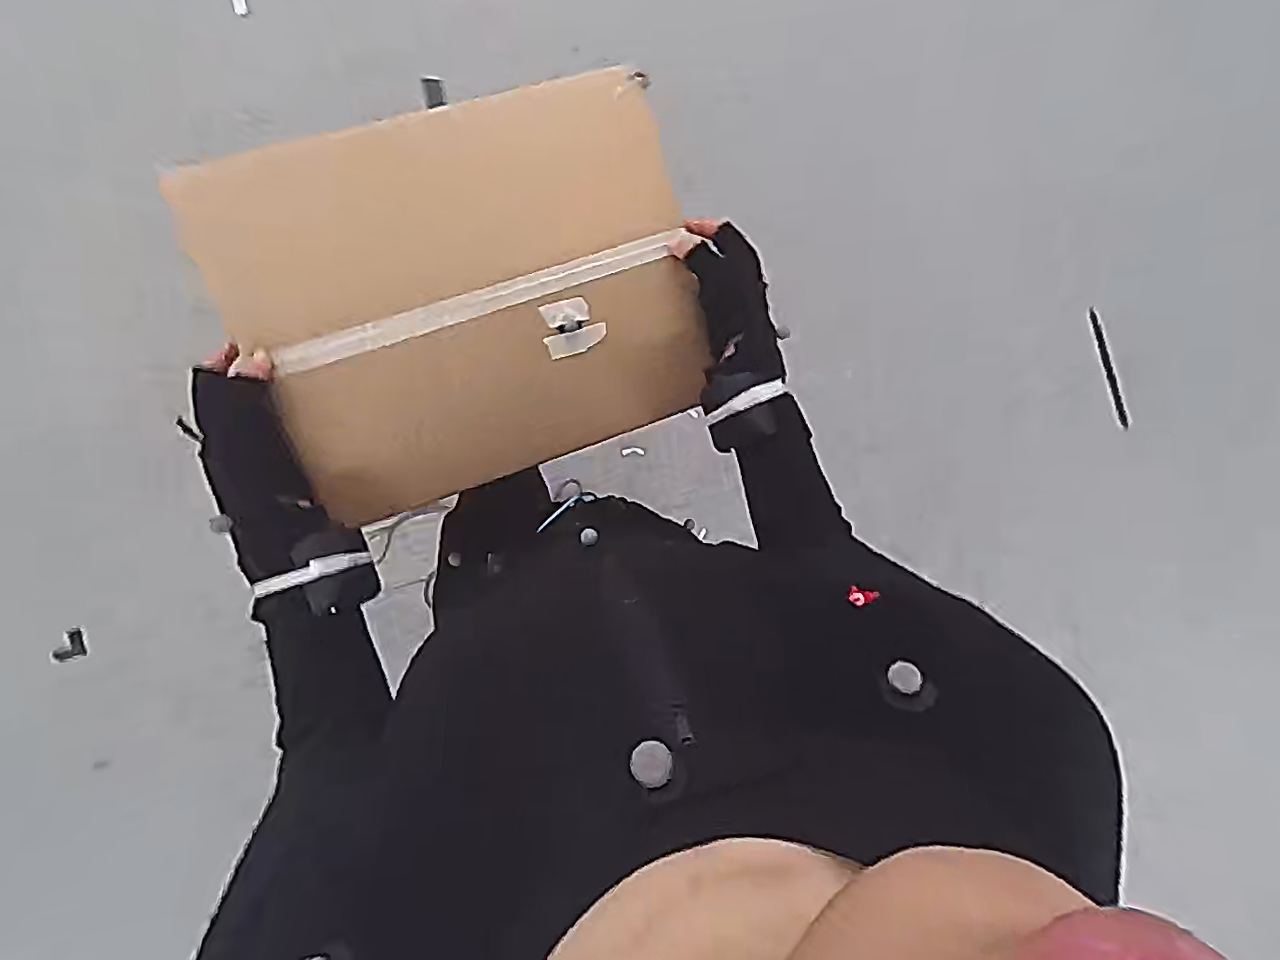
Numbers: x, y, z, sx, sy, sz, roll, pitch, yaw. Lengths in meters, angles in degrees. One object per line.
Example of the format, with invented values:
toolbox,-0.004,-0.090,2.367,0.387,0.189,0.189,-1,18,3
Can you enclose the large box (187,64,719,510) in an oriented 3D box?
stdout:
large box,-0.179,-0.202,0.646,0.408,0.320,0.320,-20,105,-10
